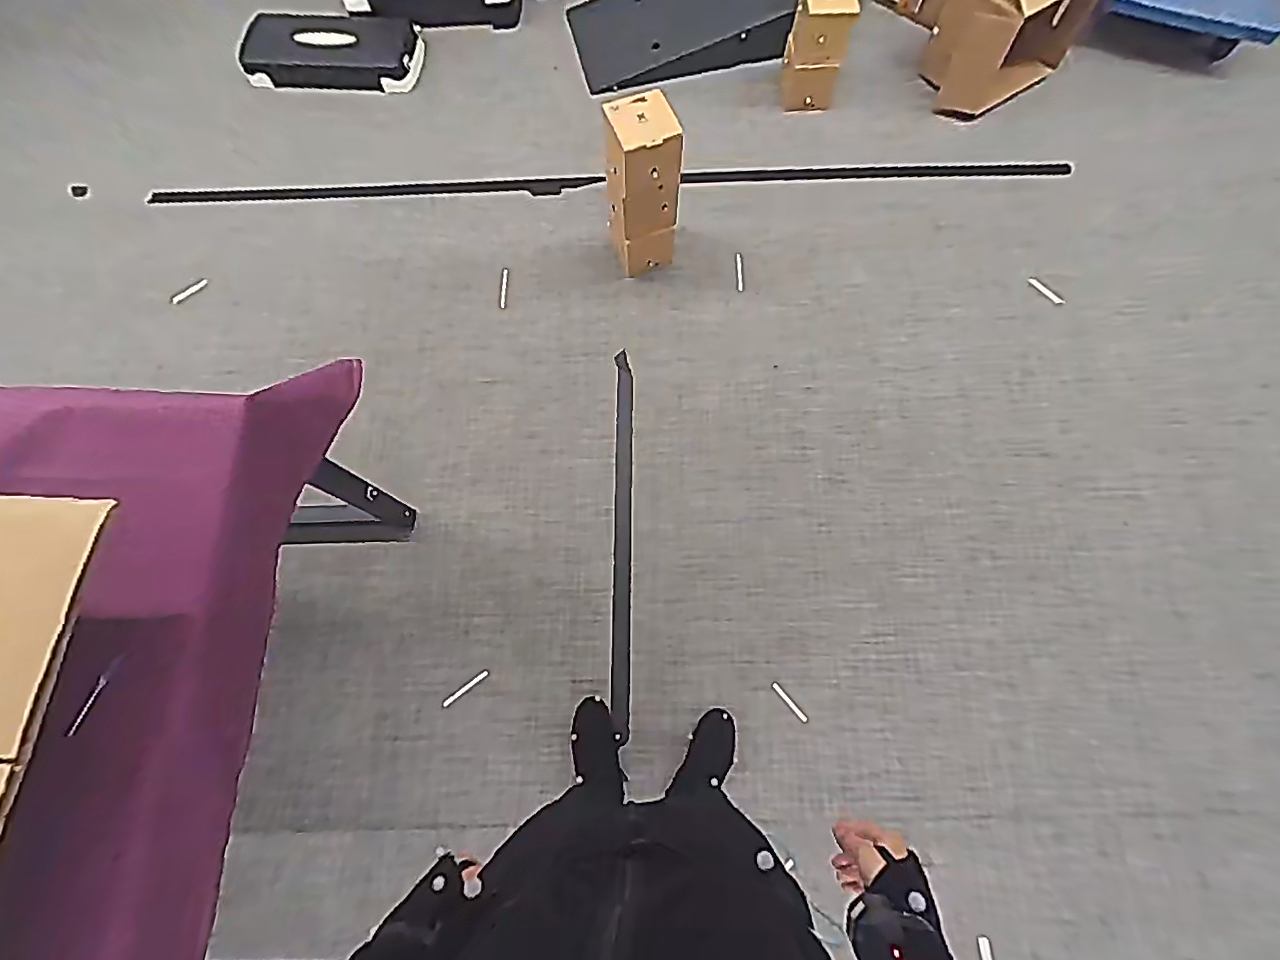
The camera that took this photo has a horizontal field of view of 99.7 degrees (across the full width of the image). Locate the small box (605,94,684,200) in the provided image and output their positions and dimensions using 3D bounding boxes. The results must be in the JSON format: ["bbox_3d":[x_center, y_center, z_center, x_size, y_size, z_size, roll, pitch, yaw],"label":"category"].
[{"bbox_3d":[0.013,-0.902,1.485,0.168,0.176,0.179,-19,74,-6],"label":"small box"}]
